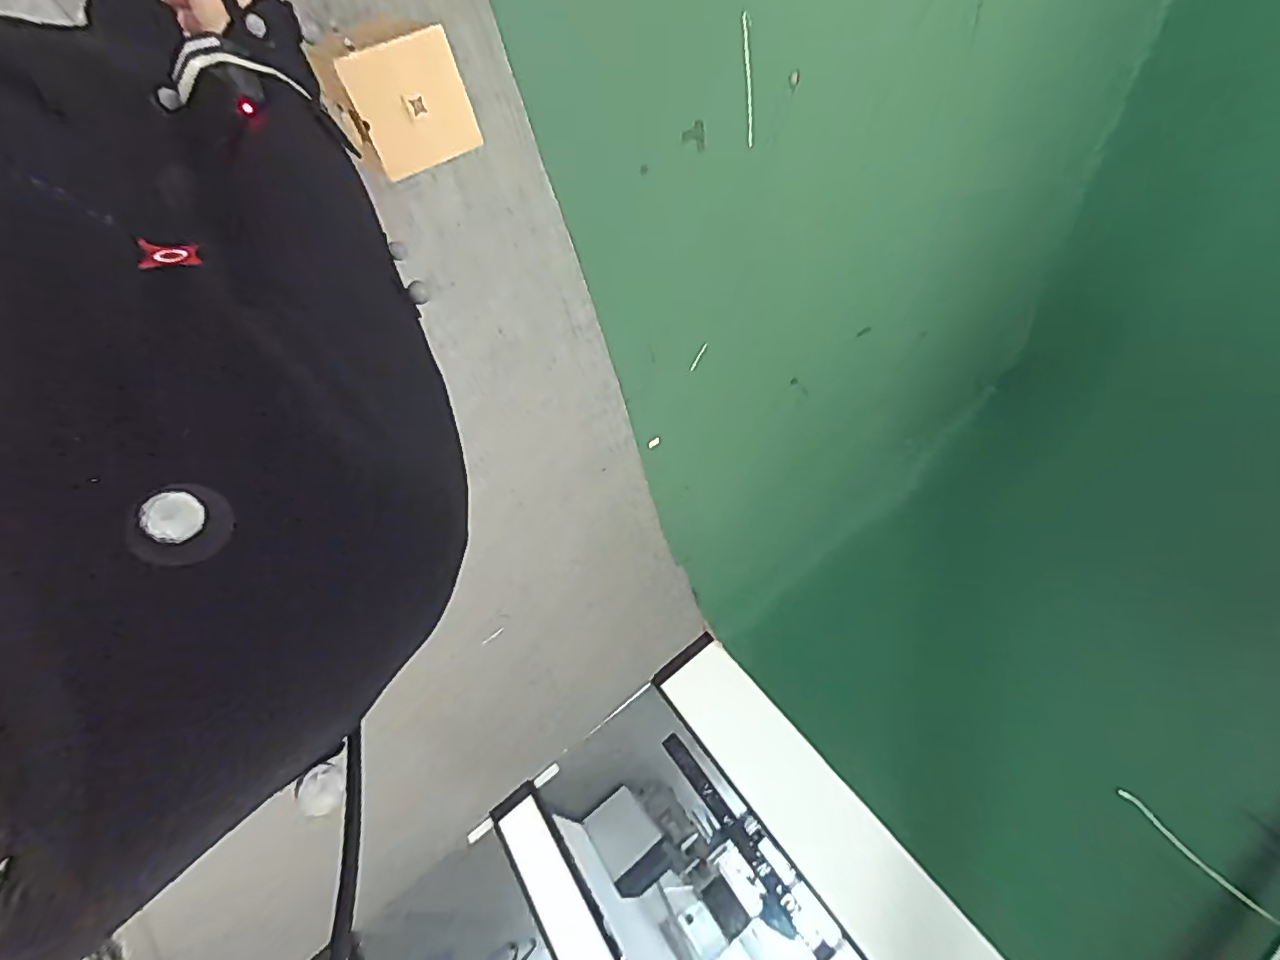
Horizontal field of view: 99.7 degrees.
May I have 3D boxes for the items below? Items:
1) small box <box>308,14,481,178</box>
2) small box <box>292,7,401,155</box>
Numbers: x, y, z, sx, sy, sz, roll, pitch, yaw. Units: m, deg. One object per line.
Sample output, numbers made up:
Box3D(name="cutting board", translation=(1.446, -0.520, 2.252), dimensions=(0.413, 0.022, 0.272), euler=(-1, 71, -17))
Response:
Box3D(name="small box", translation=(-0.394, -0.625, 0.874), dimensions=(0.179, 0.176, 0.168), euler=(-34, 142, -15))
Box3D(name="small box", translation=(-0.491, -0.717, 0.970), dimensions=(0.179, 0.176, 0.168), euler=(-34, 142, -13))
